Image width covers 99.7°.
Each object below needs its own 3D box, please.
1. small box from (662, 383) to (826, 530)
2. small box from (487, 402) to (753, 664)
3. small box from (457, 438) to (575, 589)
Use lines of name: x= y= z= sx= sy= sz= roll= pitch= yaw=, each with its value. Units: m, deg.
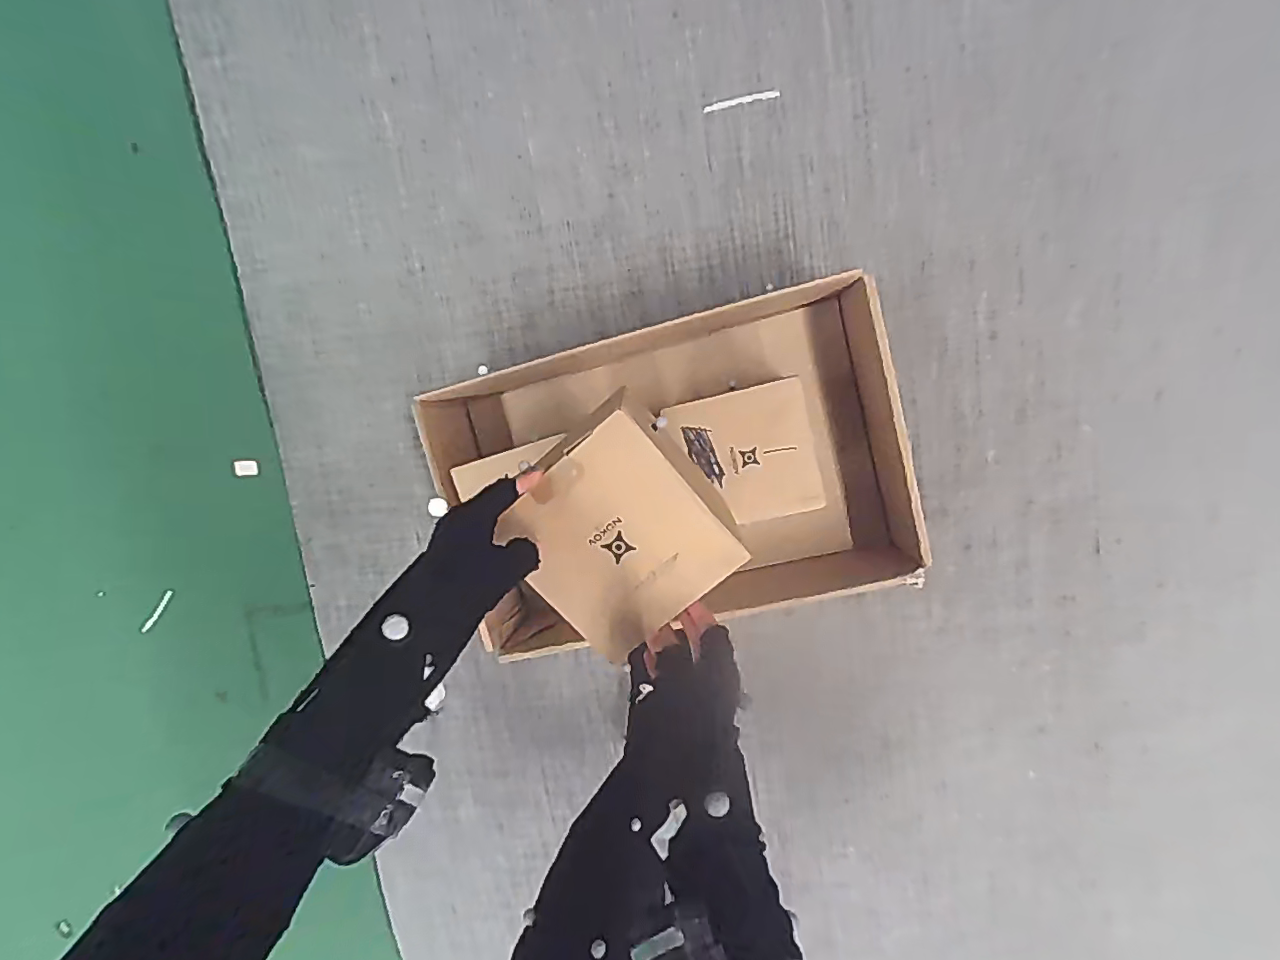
small box: x=0.139 y=-0.031 z=0.742 sx=0.179 sy=0.176 sz=0.168 roll=-12 pitch=97 yaw=9
small box: x=-0.018 y=0.037 z=0.544 sx=0.168 sy=0.176 sz=0.179 roll=-41 pitch=103 yaw=11
small box: x=-0.130 y=0.037 z=0.789 sx=0.179 sy=0.176 sz=0.168 roll=-17 pitch=95 yaw=9
